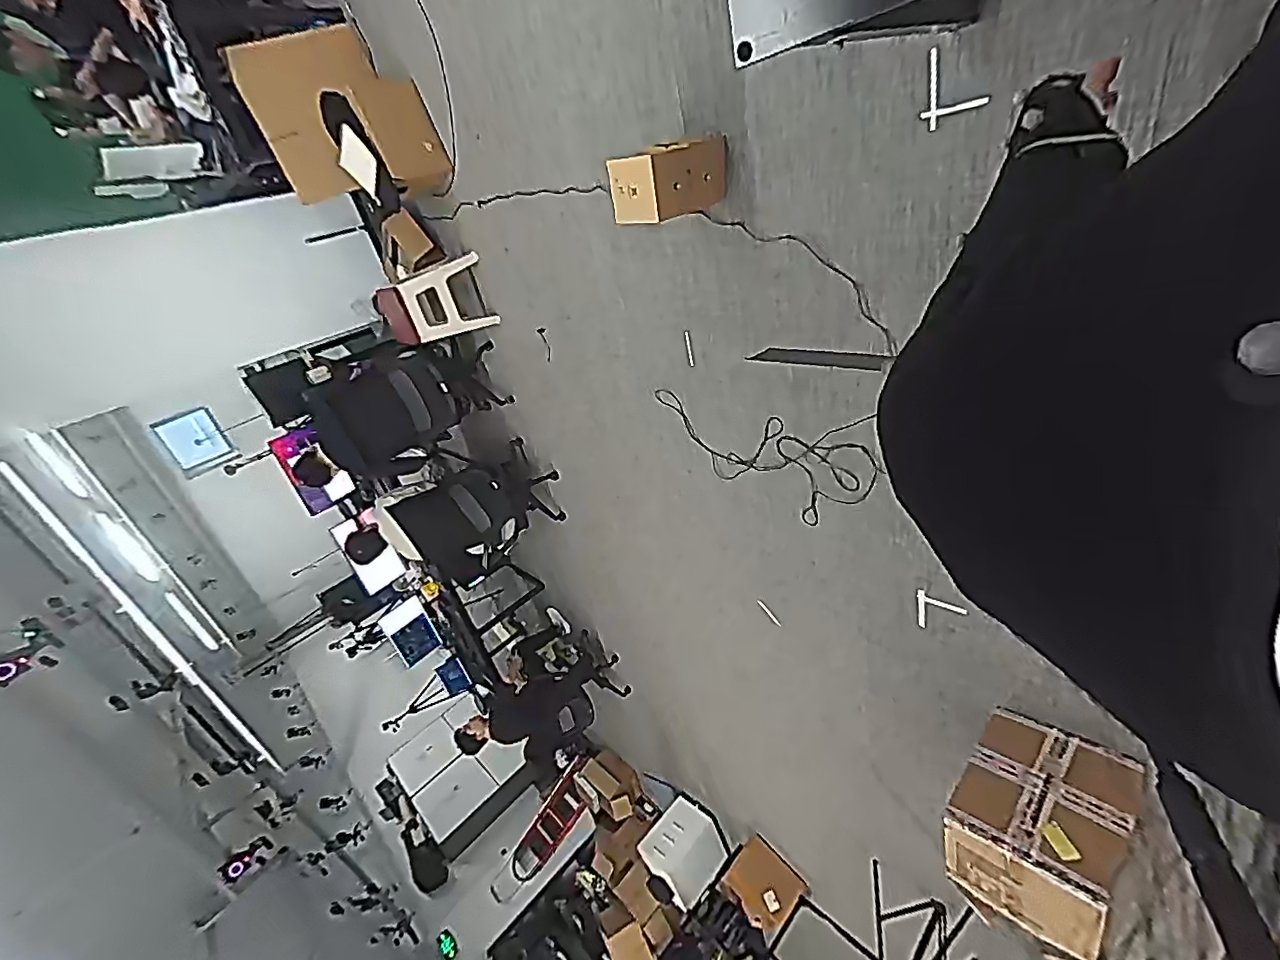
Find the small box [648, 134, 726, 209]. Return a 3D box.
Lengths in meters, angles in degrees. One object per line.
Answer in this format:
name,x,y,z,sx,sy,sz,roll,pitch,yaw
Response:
small box,0.147,-0.930,1.627,0.168,0.176,0.179,26,138,38

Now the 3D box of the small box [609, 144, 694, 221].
small box,0.040,-0.844,1.535,0.179,0.176,0.168,23,134,41
